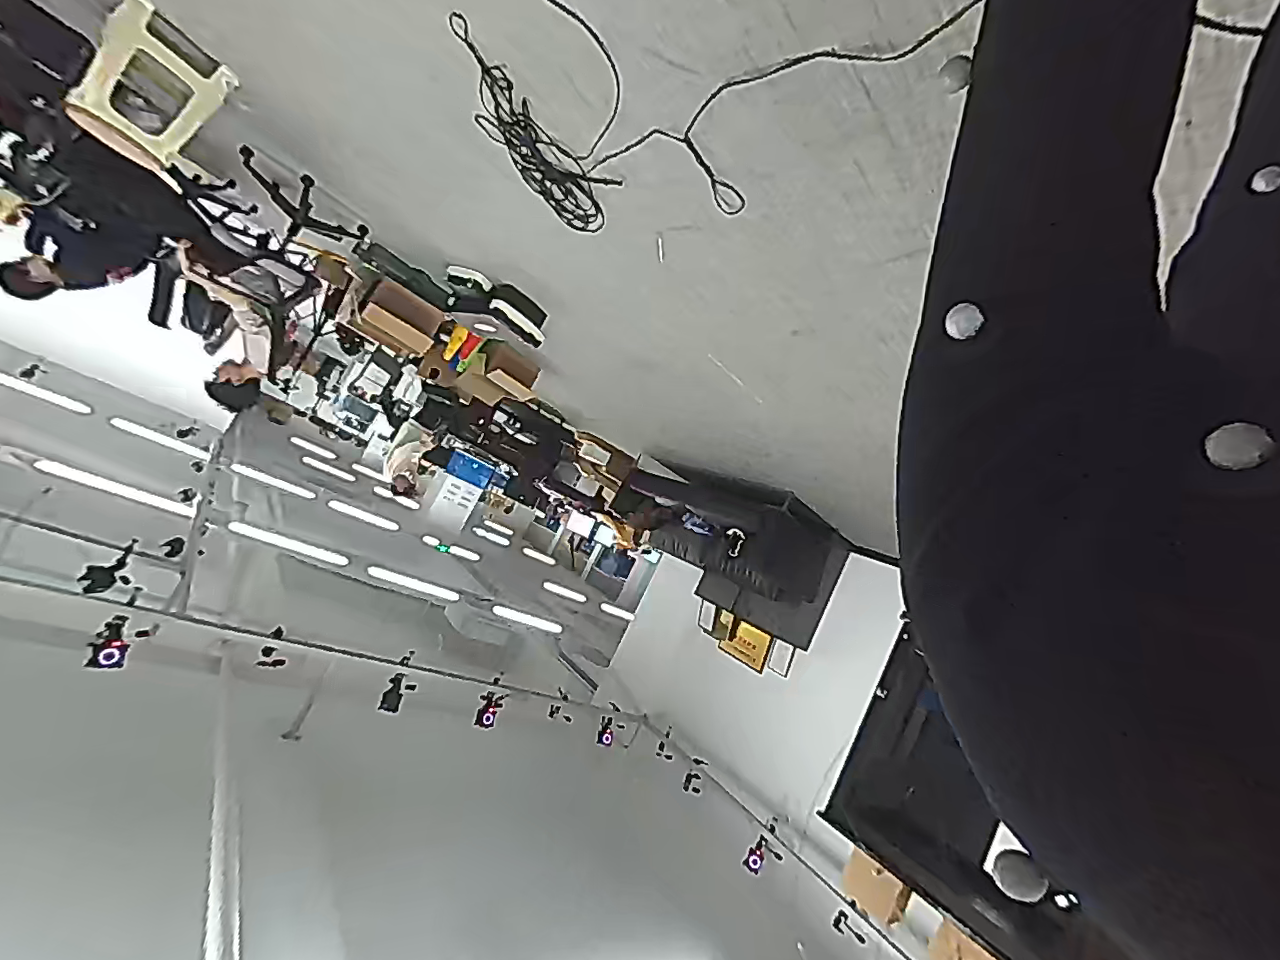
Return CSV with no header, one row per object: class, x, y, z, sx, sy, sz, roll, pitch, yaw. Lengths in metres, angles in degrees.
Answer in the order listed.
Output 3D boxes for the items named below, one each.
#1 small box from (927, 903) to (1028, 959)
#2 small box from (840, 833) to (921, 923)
small box,0.959,1.342,1.532,0.179,0.176,0.168,30,173,-32
small box,0.792,1.289,1.768,0.168,0.176,0.179,19,170,47
